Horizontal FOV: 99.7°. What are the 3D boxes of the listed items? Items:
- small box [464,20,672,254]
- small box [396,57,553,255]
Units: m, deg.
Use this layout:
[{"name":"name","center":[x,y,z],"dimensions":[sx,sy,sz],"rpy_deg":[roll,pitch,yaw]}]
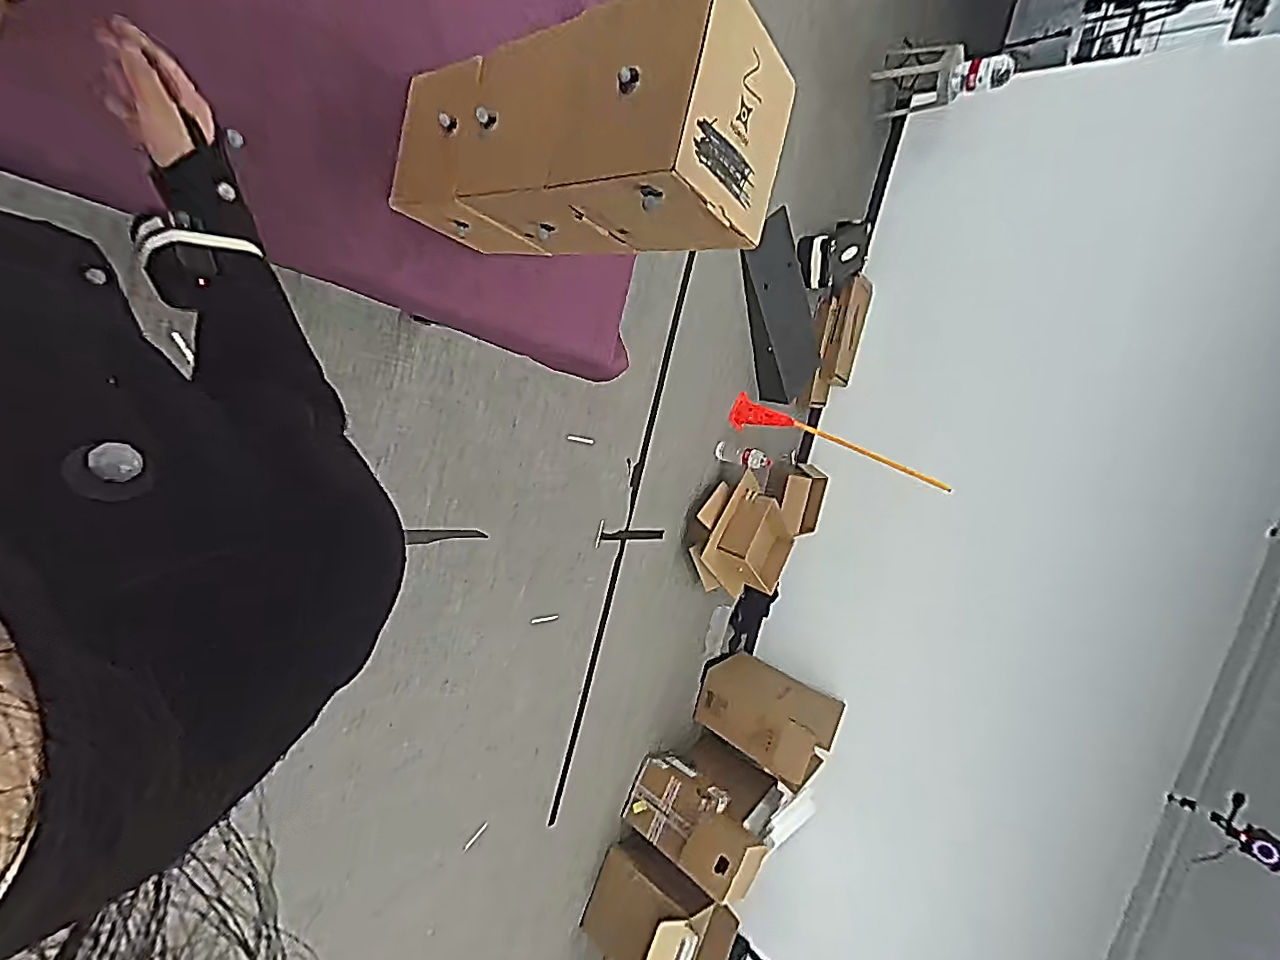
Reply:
[{"name":"small box","center":[-0.091,-0.398,0.666],"dimensions":[0.168,0.176,0.179],"rpy_deg":[8,99,-53]},{"name":"small box","center":[-0.219,-0.436,0.762],"dimensions":[0.168,0.176,0.179],"rpy_deg":[6,99,-53]}]
